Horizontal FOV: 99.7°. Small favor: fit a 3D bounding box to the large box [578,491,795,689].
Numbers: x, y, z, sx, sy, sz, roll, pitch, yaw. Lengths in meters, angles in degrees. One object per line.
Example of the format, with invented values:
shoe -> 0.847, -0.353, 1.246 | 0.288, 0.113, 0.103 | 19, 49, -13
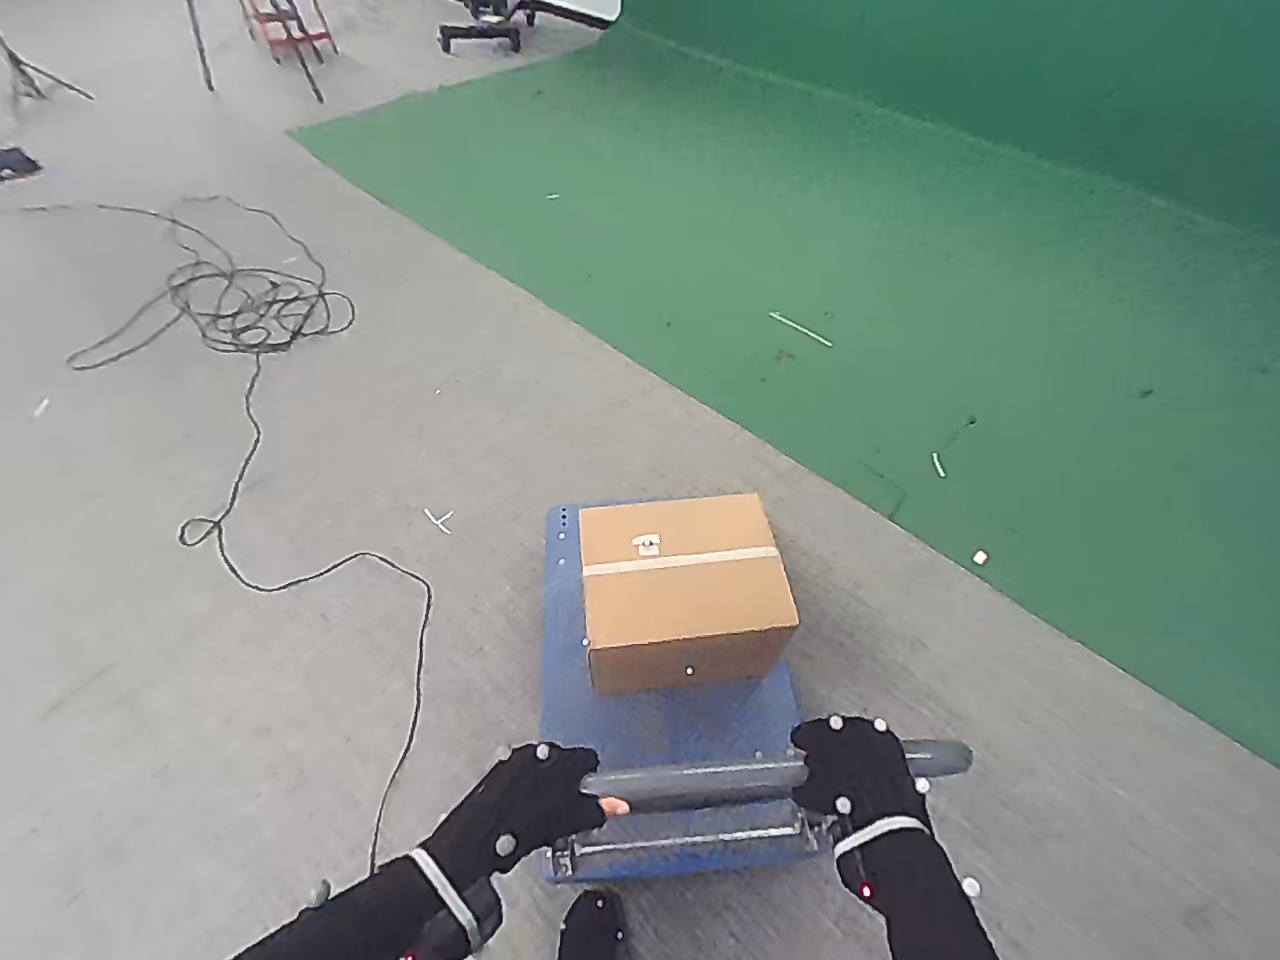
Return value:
large box -> 0.080, 0.254, 1.224 | 0.408, 0.320, 0.320 | -6, 54, -6
